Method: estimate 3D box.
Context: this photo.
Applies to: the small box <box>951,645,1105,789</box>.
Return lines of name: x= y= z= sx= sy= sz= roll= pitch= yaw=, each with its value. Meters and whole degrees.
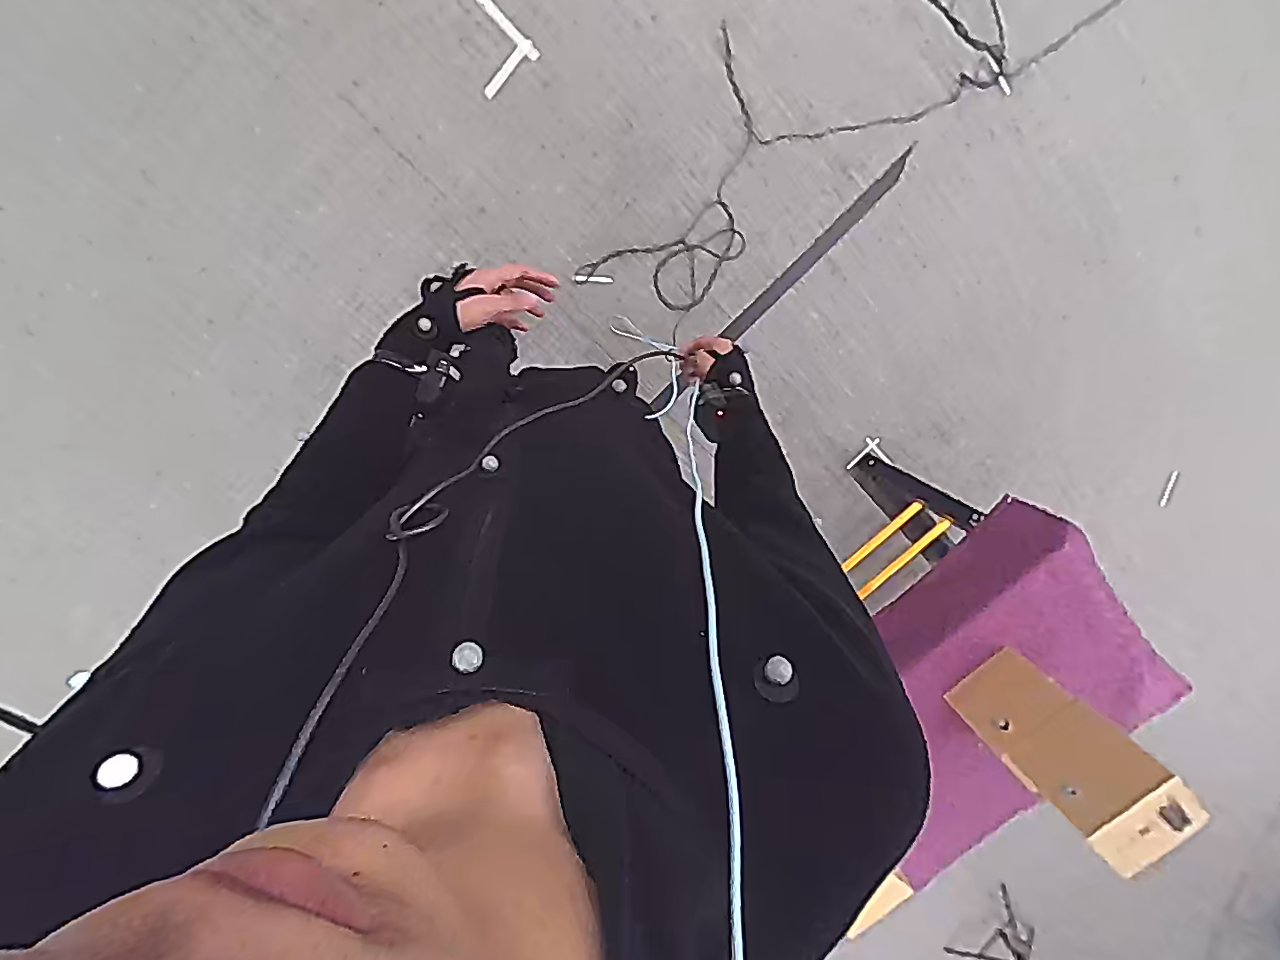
small box: x=0.782 y=0.482 z=1.115 sx=0.179 sy=0.176 sz=0.168 roll=-42 pitch=111 yaw=8
